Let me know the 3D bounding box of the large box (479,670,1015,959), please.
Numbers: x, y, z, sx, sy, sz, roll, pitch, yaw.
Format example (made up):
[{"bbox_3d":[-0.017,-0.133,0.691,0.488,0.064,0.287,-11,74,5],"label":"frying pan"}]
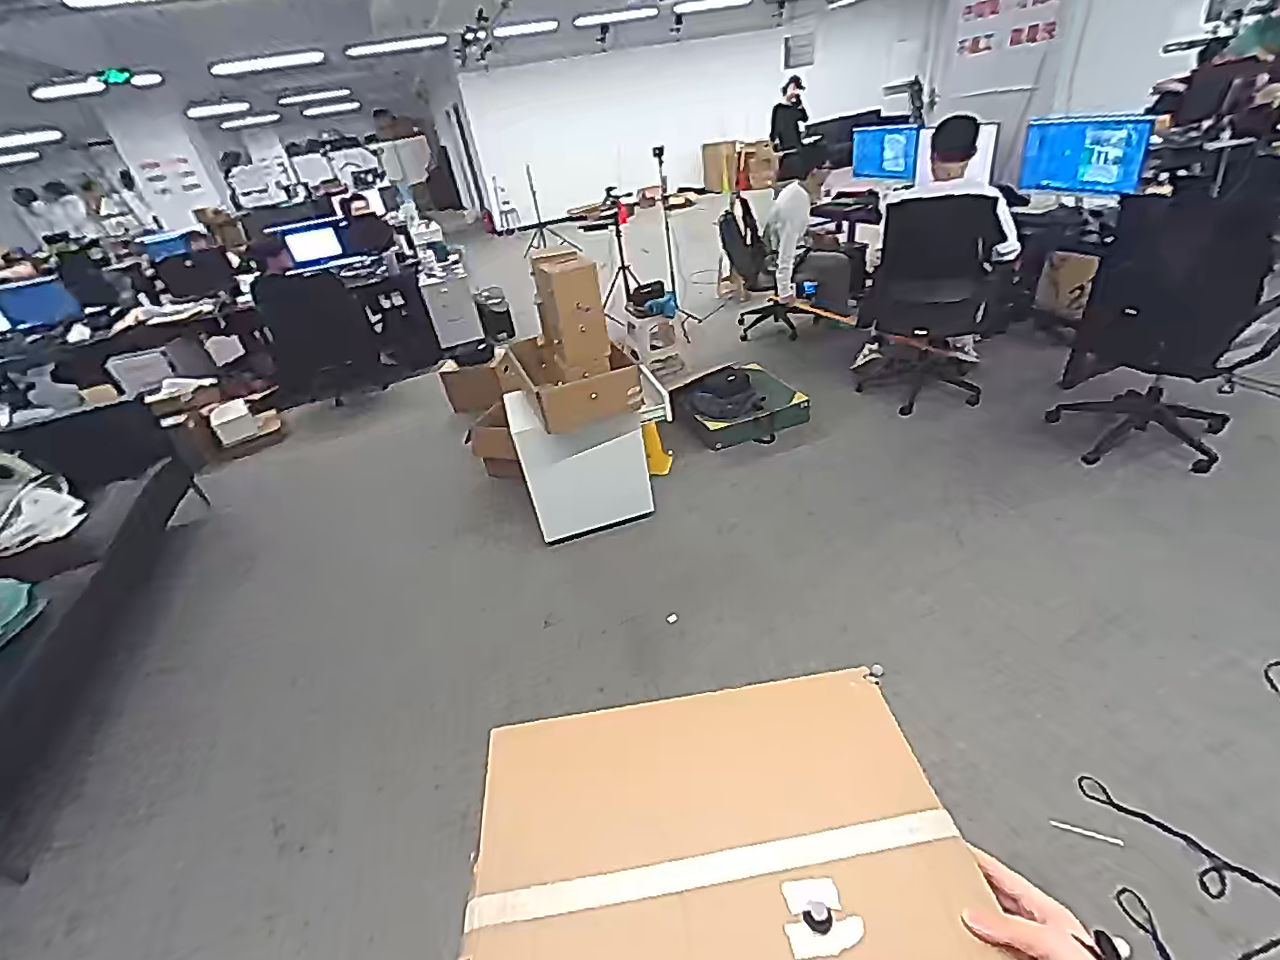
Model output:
[{"bbox_3d":[0.074,0.443,0.544,0.408,0.320,0.320,-7,37,-4],"label":"large box"}]
